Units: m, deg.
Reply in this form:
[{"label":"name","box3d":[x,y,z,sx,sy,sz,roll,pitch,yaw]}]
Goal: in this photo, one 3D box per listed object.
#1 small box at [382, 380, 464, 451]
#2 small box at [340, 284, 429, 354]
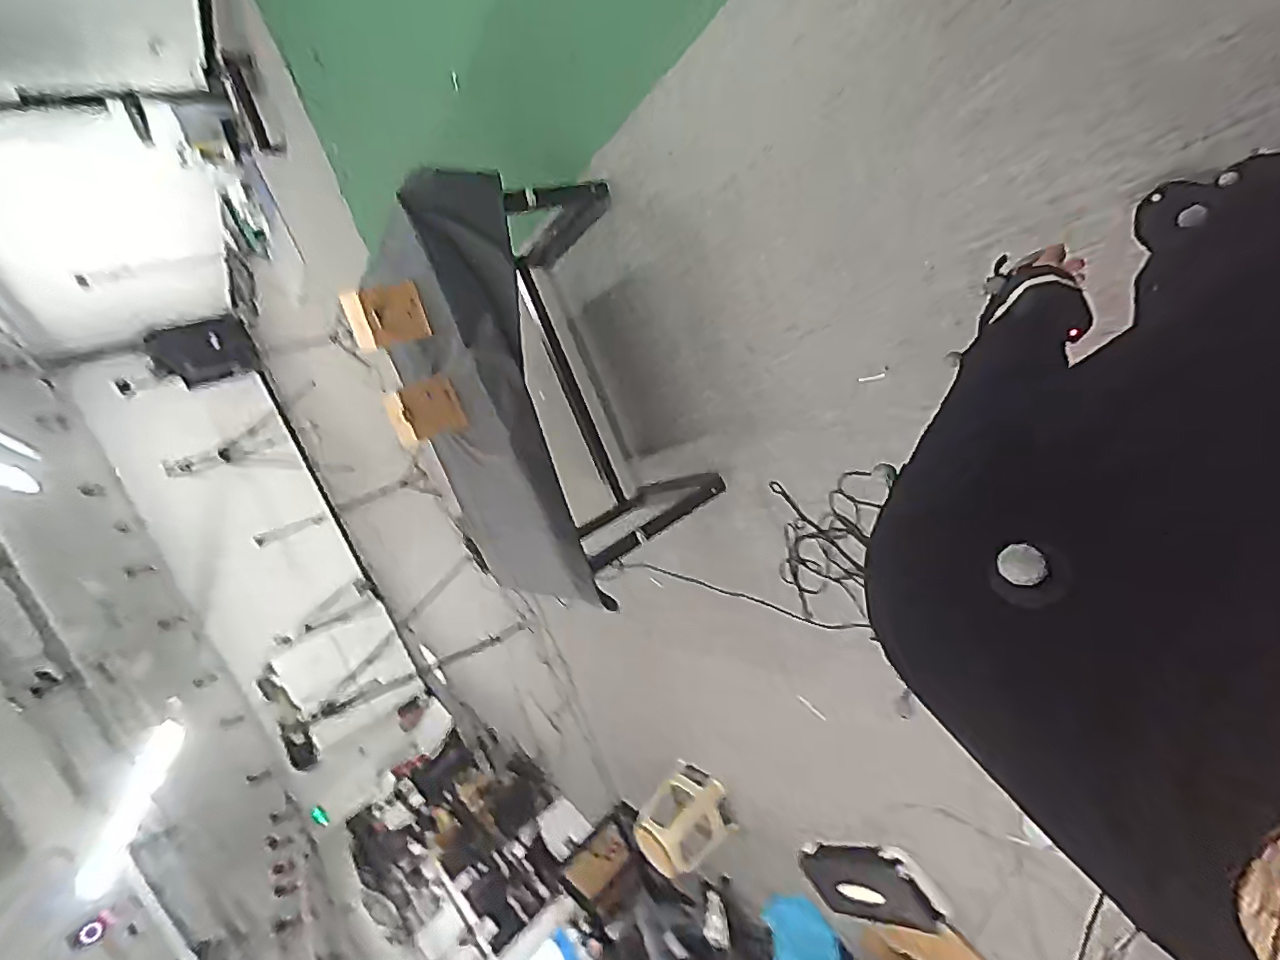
[{"label":"small box","box3d":[-0.671,-0.201,1.686,0.179,0.176,0.168,-6,107,54]},{"label":"small box","box3d":[-0.754,-0.475,1.602,0.179,0.176,0.168,11,122,47]}]
